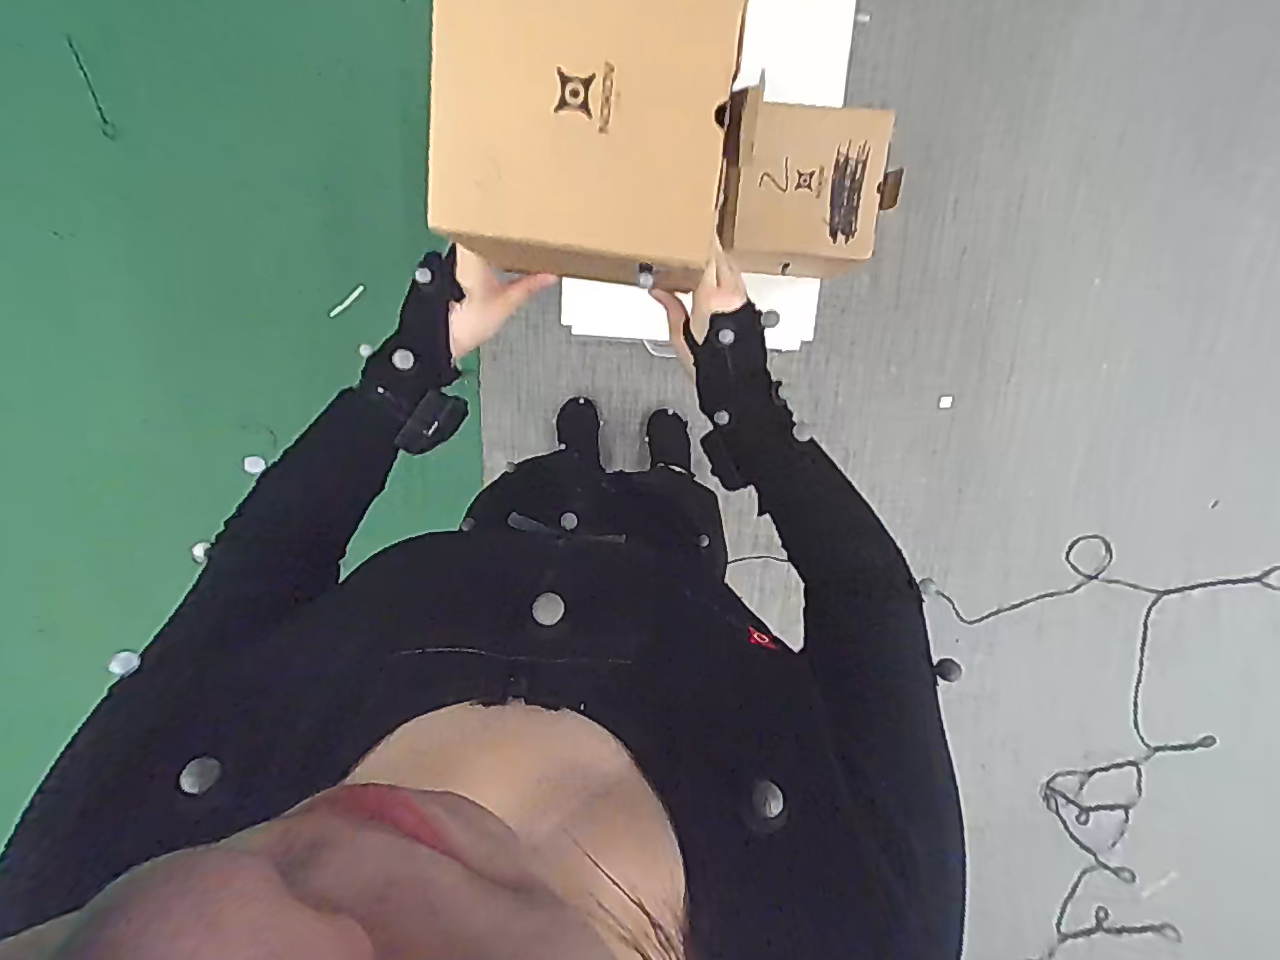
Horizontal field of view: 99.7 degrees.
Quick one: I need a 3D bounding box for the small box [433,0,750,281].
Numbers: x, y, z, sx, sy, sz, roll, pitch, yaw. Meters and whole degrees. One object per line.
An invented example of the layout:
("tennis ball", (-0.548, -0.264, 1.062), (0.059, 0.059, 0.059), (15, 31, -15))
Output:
("small box", (-0.030, -0.250, 0.394), (0.179, 0.176, 0.168), (7, 102, -3))
